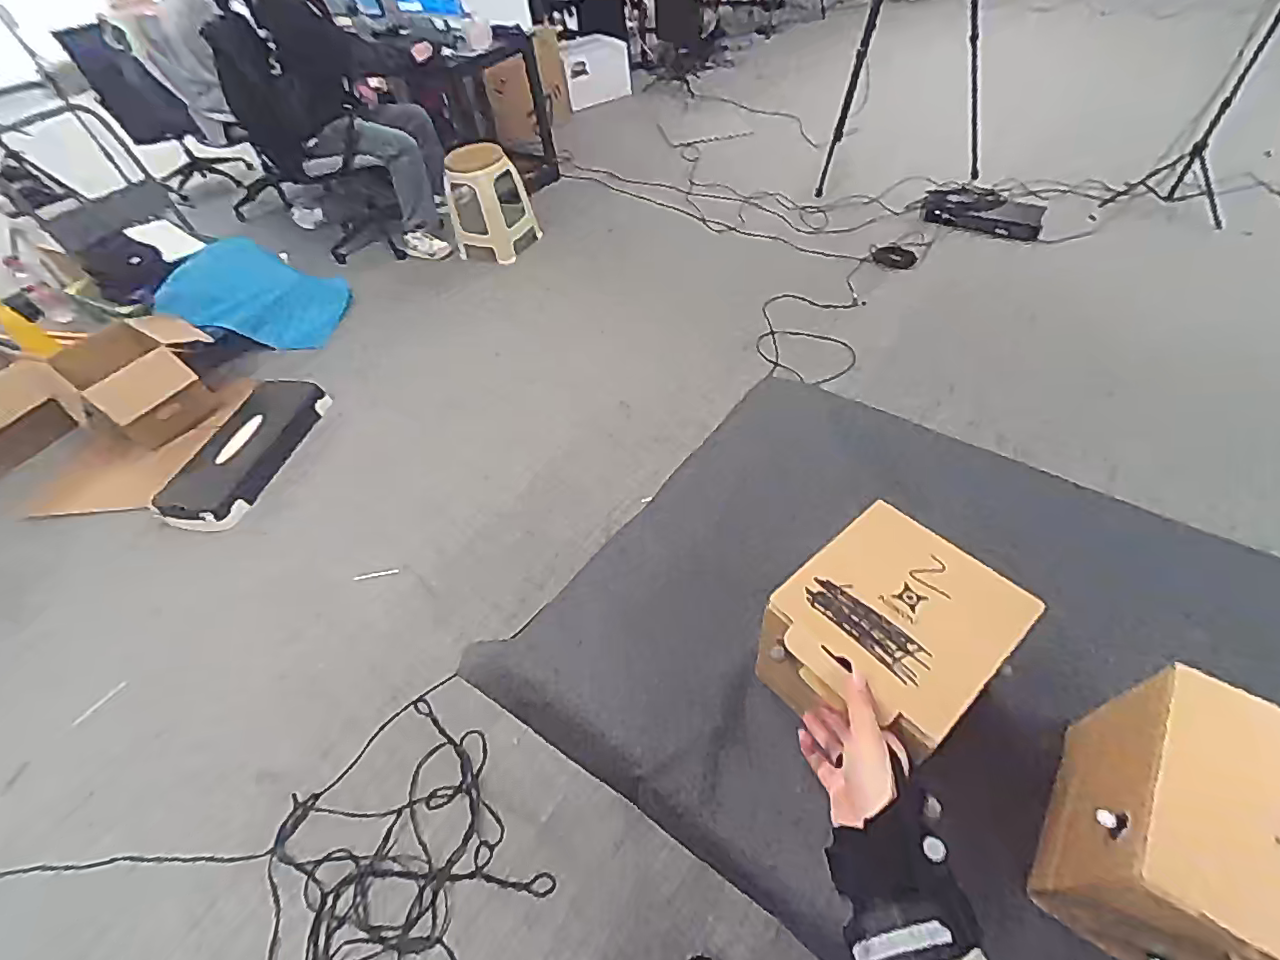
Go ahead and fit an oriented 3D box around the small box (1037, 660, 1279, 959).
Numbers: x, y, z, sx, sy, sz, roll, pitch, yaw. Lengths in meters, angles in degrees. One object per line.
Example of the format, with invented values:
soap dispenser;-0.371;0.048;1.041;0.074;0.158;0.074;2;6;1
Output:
small box;0.440;0.277;0.406;0.168;0.176;0.179;27;59;26
